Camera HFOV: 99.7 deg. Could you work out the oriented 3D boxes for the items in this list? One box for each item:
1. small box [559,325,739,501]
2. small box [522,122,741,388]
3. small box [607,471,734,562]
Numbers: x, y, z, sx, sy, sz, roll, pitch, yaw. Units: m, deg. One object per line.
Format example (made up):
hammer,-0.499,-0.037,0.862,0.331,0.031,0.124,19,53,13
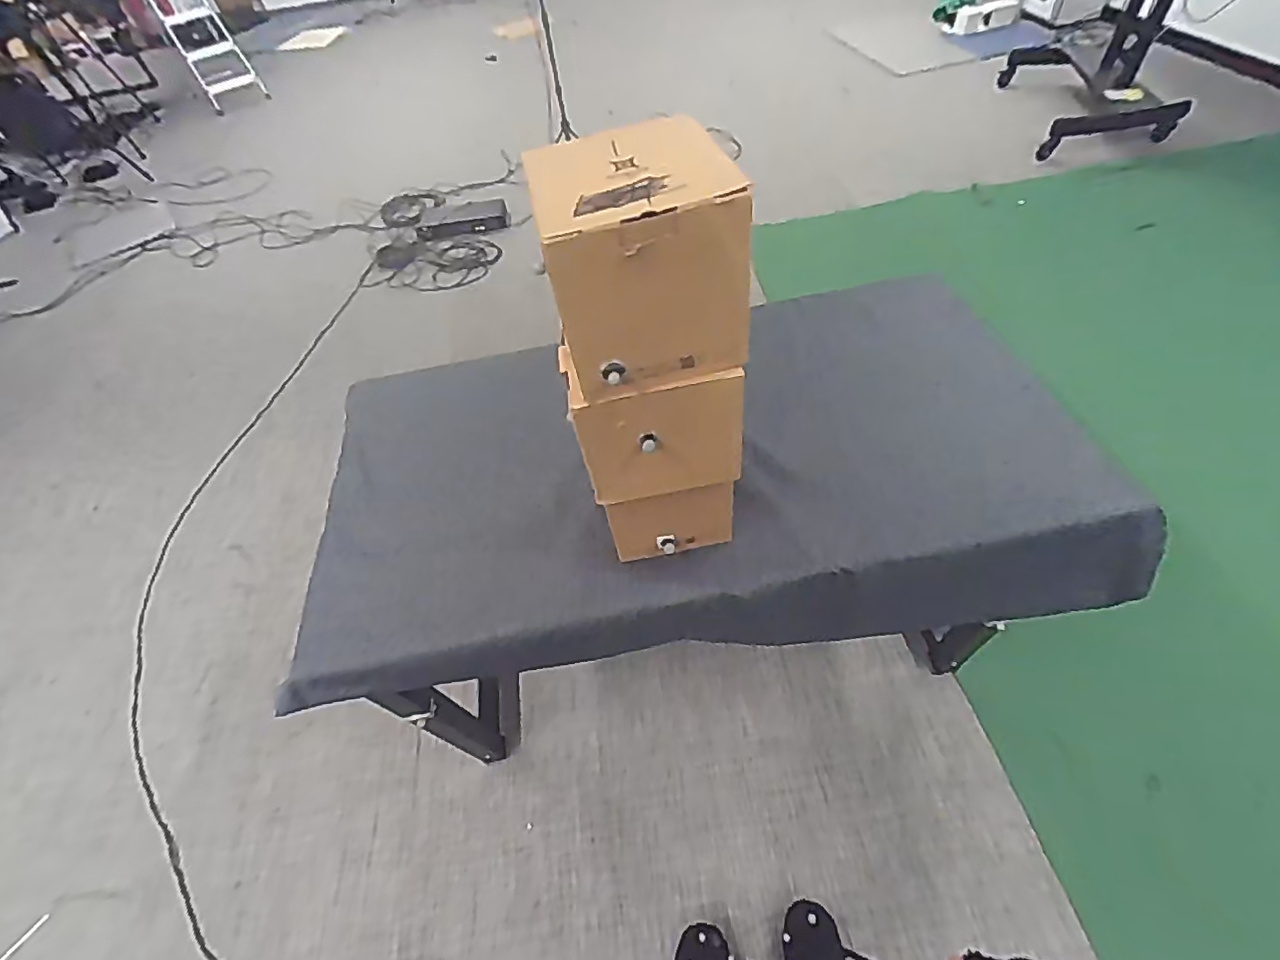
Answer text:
small box,0.013,-0.096,0.647,0.179,0.176,0.168,-13,49,-2
small box,-0.005,-0.208,0.523,0.168,0.176,0.179,-14,50,-2
small box,0.031,-0.008,0.781,0.168,0.176,0.179,-13,52,0
